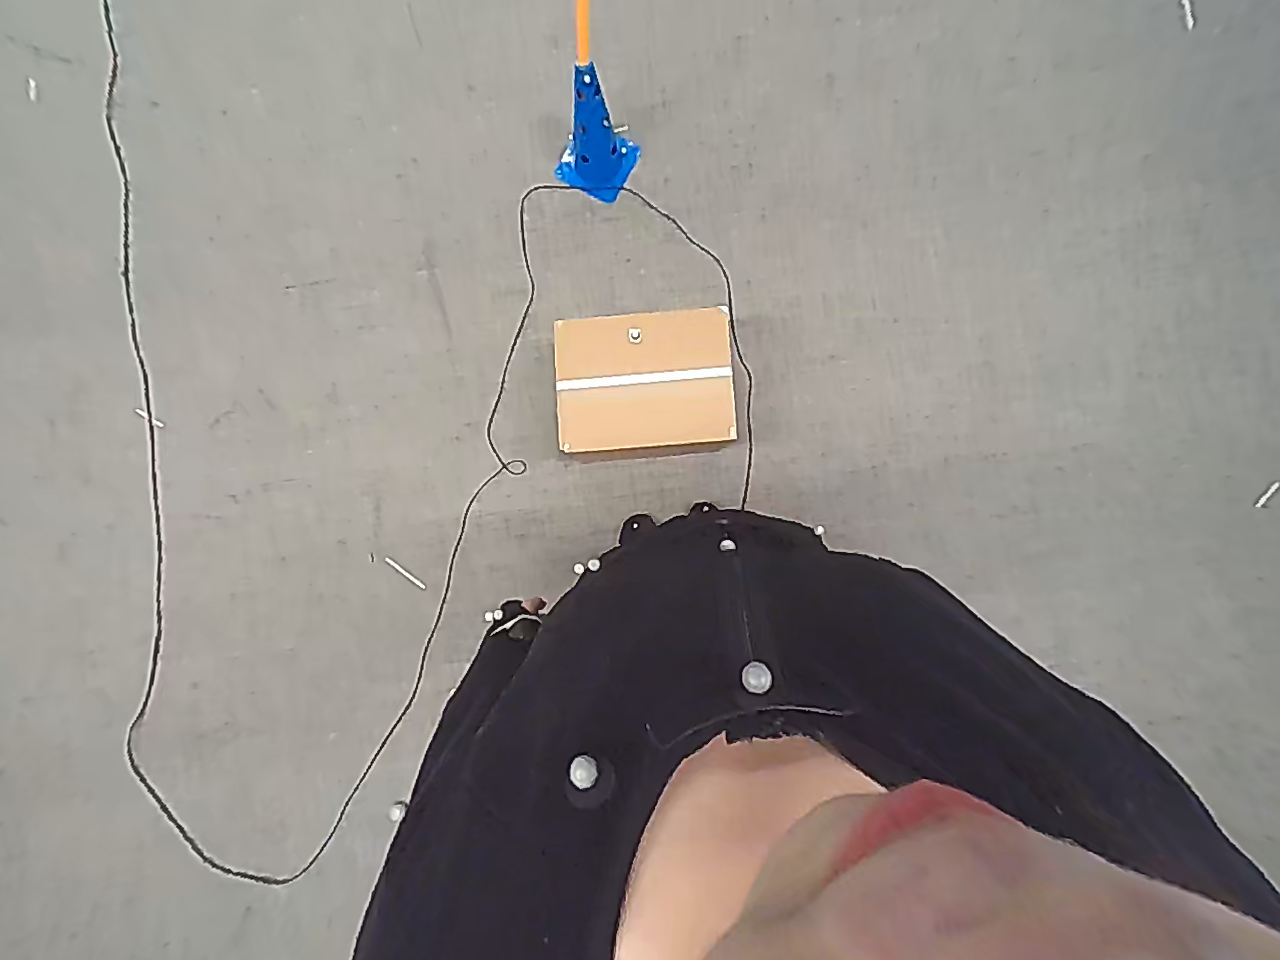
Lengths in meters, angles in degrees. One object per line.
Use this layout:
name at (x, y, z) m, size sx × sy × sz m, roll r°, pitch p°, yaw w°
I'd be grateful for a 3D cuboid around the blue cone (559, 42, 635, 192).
blue cone at (-0.125, -0.953, 1.394) m, size 0.192 × 0.380 × 0.193 m, roll 25°, pitch 86°, yaw 2°
